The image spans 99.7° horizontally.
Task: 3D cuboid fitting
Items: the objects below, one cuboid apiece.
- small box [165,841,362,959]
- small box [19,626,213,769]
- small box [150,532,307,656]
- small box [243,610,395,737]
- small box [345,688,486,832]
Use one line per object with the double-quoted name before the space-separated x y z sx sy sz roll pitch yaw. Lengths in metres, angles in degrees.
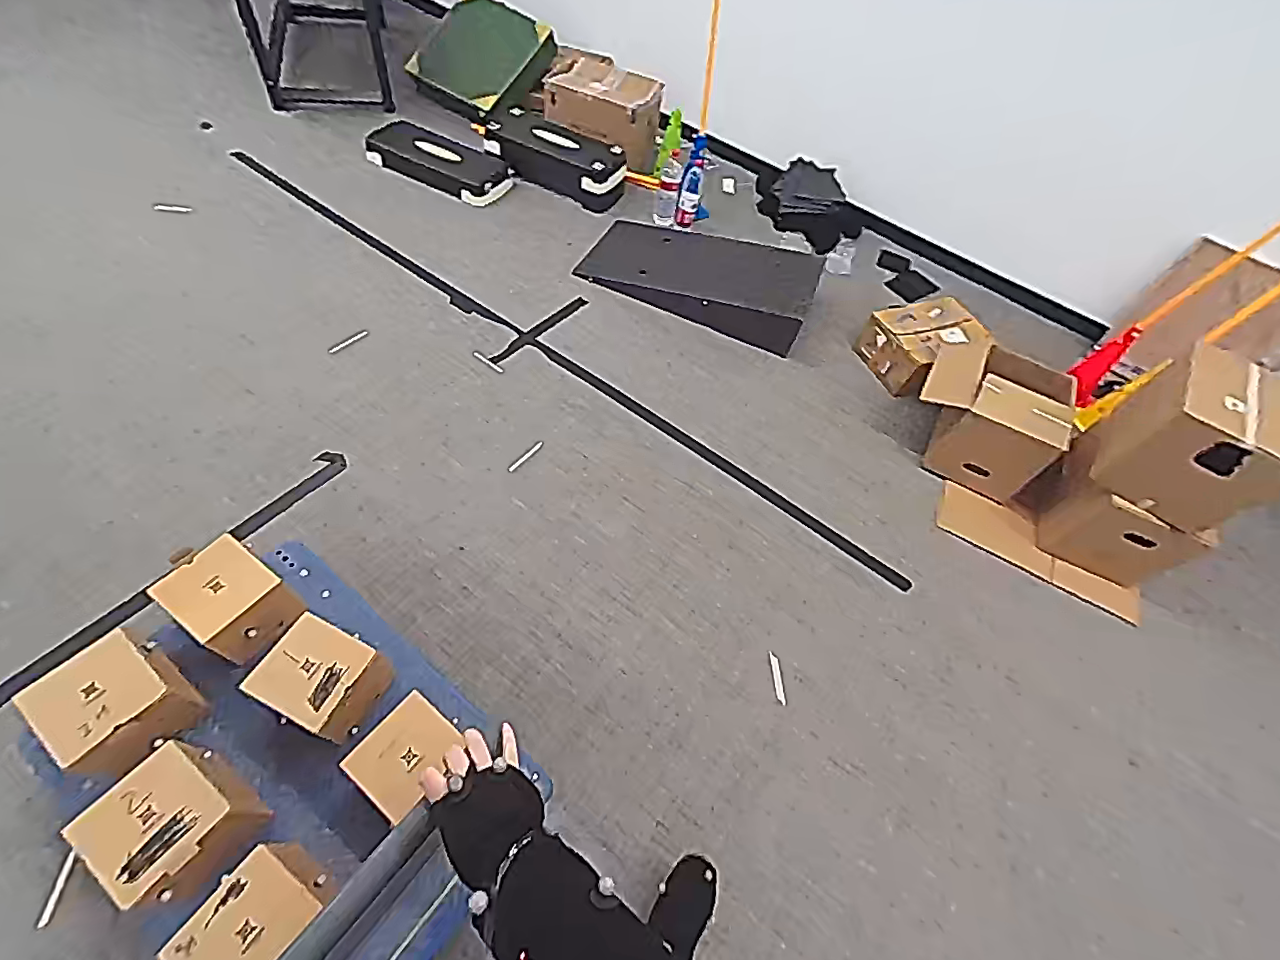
"small box" -0.589 0.718 0.875 0.179 0.176 0.168 33 56 11
"small box" -0.960 0.411 1.008 0.179 0.176 0.168 38 58 14
"small box" -0.850 0.248 1.138 0.179 0.176 0.168 33 57 12
"small box" -0.626 0.394 1.084 0.179 0.176 0.168 25 56 8
"small box" -0.415 0.534 1.032 0.179 0.176 0.168 36 57 14
